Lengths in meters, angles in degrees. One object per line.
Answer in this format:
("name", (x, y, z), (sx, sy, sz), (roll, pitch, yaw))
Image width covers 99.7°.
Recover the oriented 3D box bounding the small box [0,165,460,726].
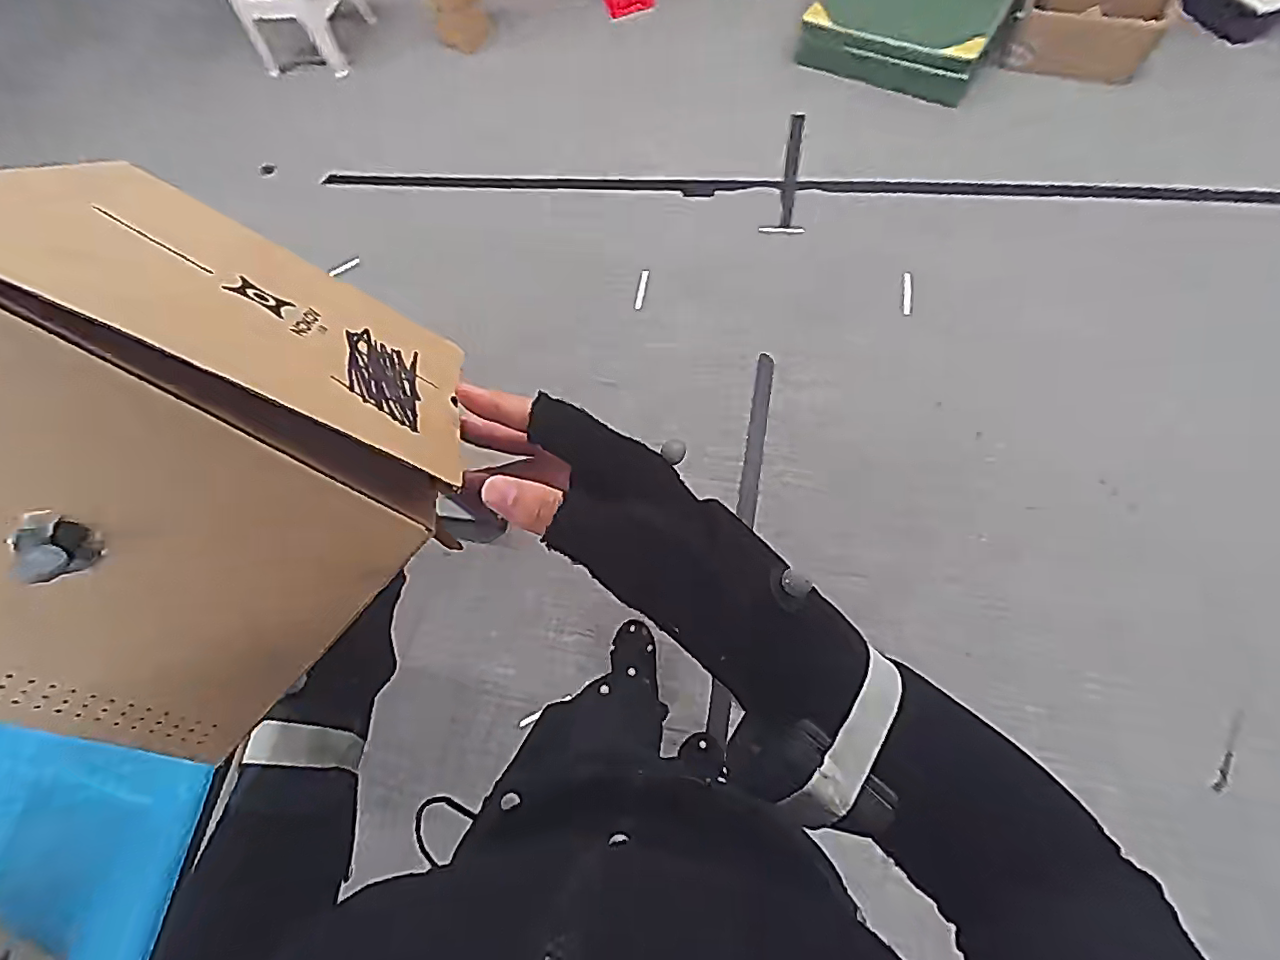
("small box", (-0.212, -0.012, 0.262), (0.176, 0.179, 0.168), (-45, 34, 12))
